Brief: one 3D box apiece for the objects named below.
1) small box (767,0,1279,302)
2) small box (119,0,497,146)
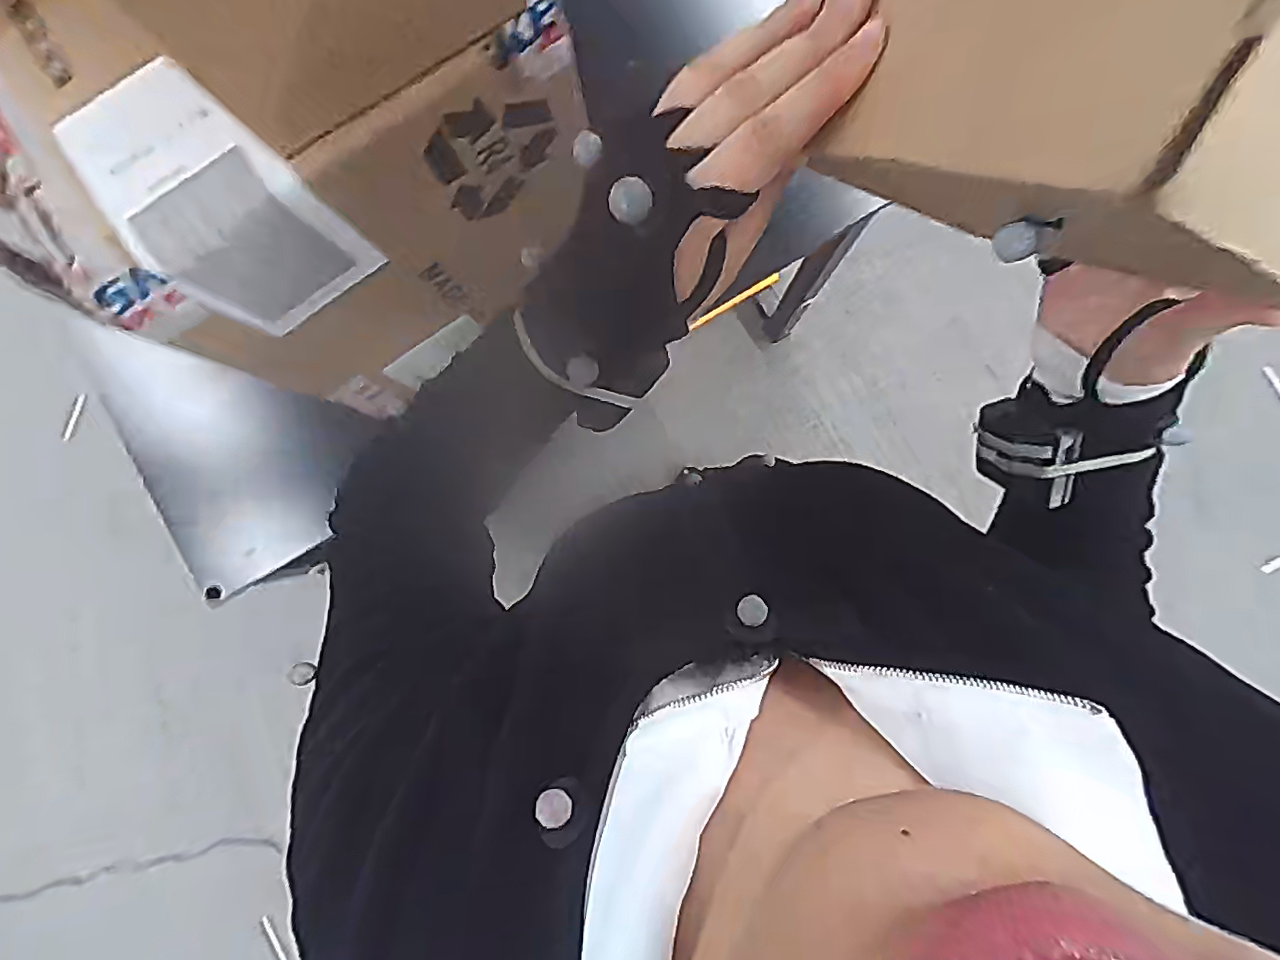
[{"bbox_3d":[0.177,-0.180,0.192,0.179,0.176,0.168,3,121,-27],"label":"small box"},{"bbox_3d":[-0.180,-0.306,0.240,0.179,0.176,0.168,-33,86,1],"label":"small box"}]
